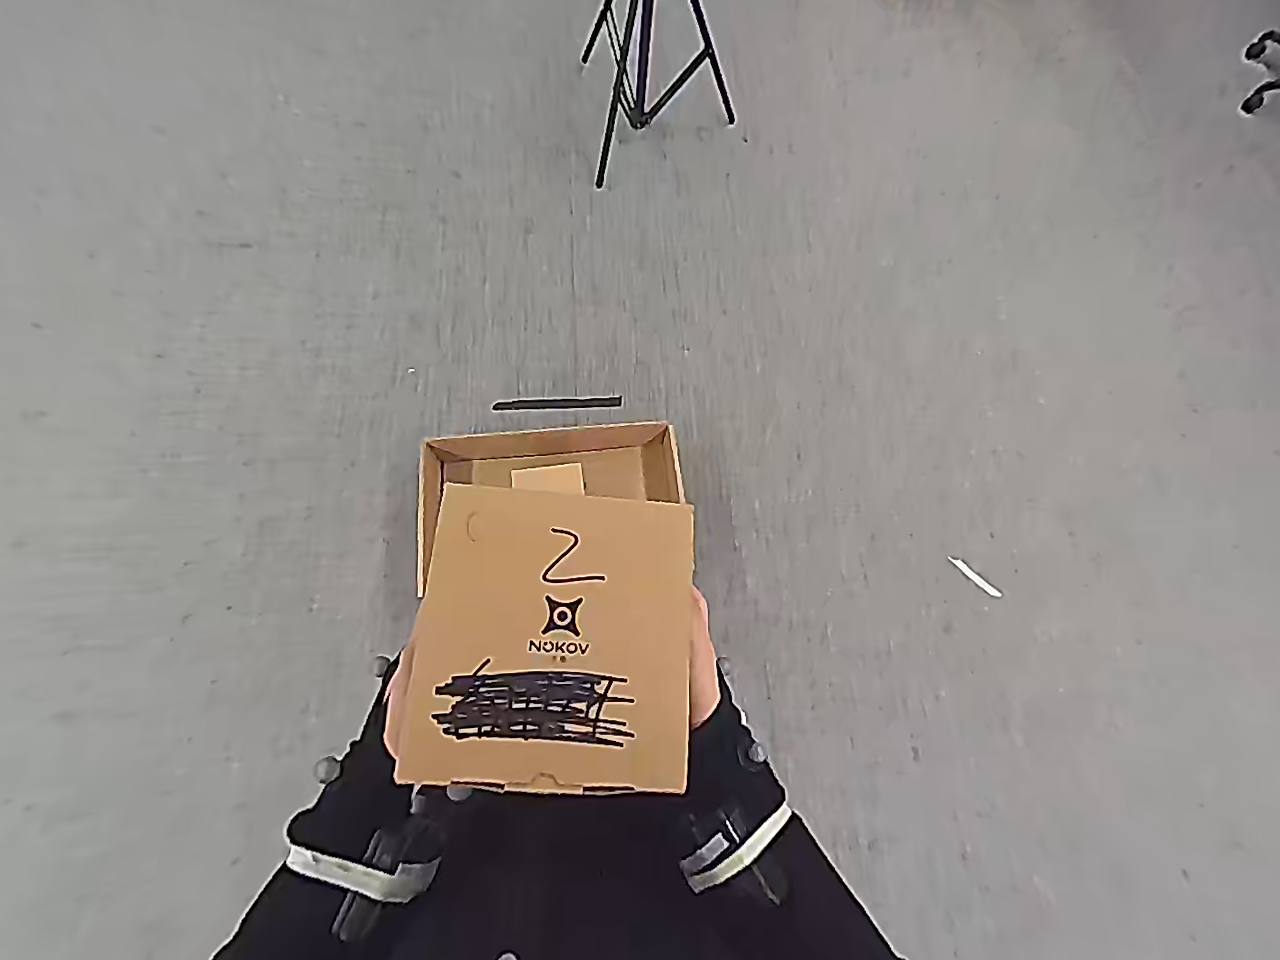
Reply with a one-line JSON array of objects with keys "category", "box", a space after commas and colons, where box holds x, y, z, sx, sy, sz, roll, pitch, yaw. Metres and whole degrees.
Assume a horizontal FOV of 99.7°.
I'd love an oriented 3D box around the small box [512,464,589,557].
[{"category": "small box", "box": [-0.216, 0.078, 1.320, 0.168, 0.176, 0.179, -7, 72, -7]}]
